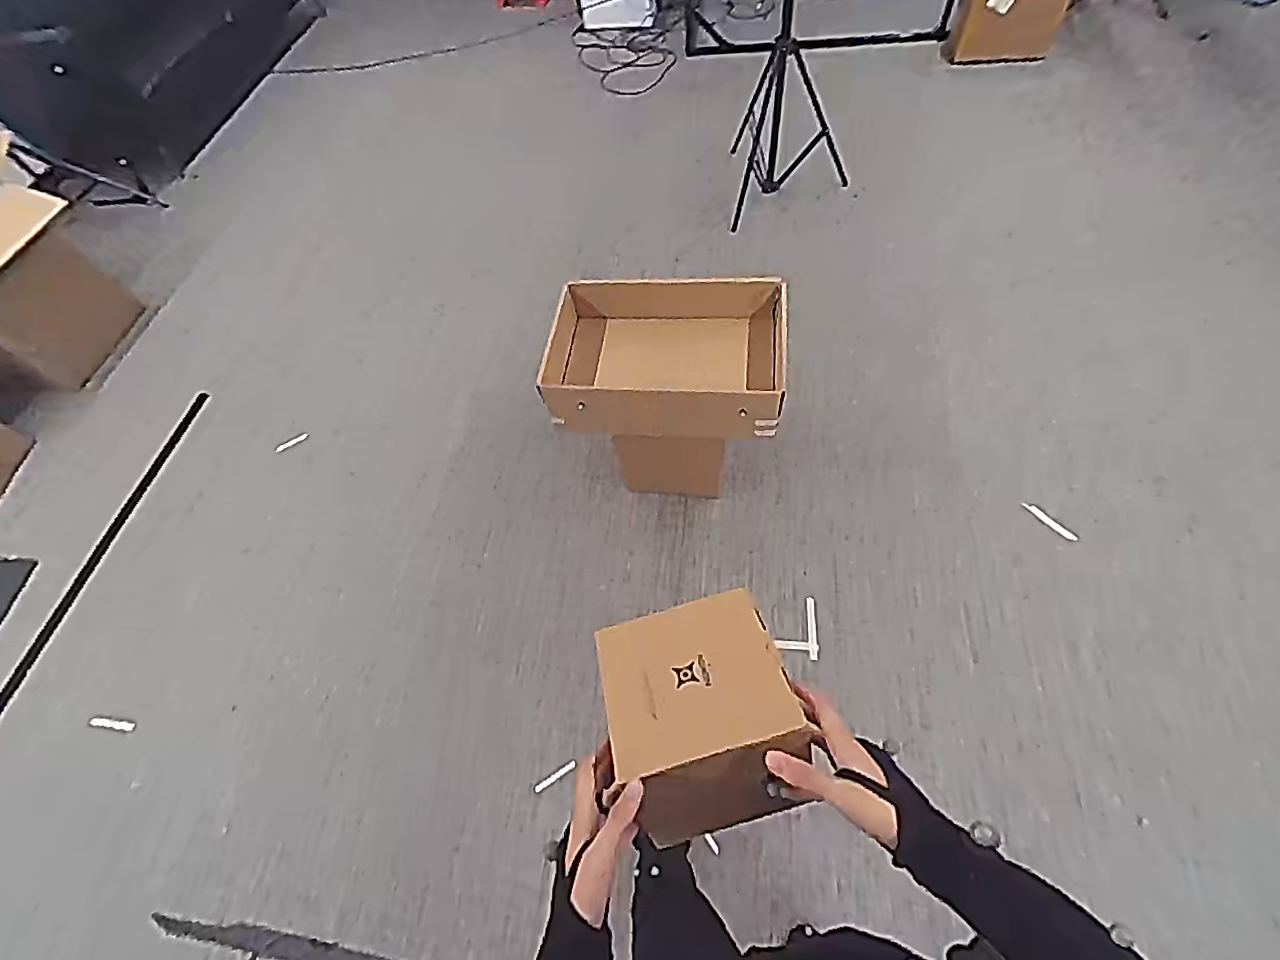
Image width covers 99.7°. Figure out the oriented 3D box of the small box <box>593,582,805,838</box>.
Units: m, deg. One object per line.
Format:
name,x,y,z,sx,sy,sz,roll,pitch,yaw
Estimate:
small box,0.063,0.244,0.577,0.179,0.176,0.168,-17,37,0
